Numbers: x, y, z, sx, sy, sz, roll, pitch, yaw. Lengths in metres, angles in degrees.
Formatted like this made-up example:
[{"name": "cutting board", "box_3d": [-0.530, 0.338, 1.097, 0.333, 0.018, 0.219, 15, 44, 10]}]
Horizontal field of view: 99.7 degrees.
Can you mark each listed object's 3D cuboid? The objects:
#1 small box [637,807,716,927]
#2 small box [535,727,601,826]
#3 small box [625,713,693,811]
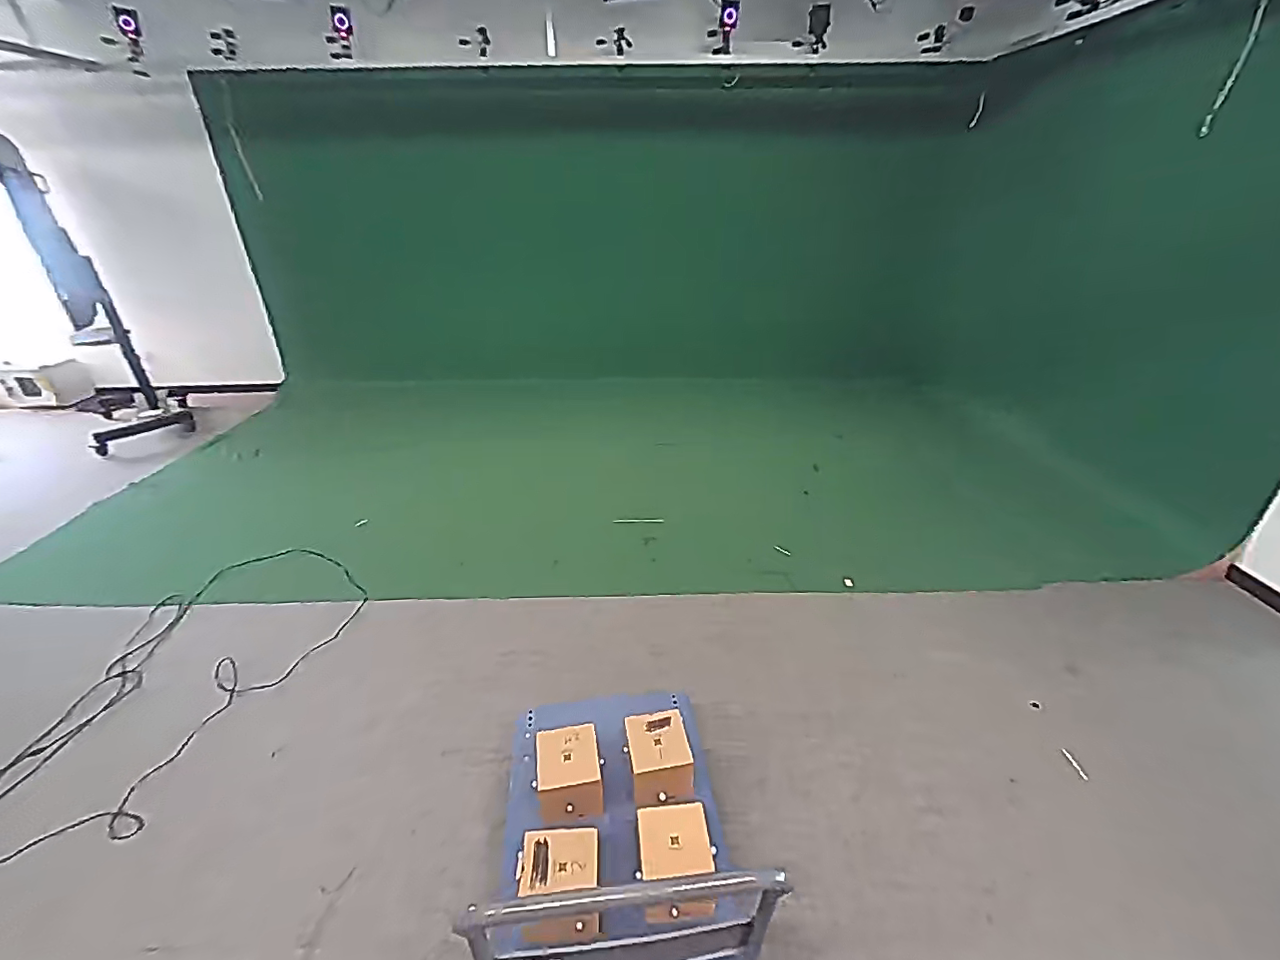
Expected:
[{"name": "small box", "box_3d": [0.080, 0.932, 1.305, 0.168, 0.176, 0.179, -3, 29, -5]}, {"name": "small box", "box_3d": [-0.199, 0.826, 1.499, 0.168, 0.176, 0.179, -5, 29, -9]}, {"name": "small box", "box_3d": [0.048, 0.801, 1.540, 0.168, 0.176, 0.179, -6, 30, -8]}]
